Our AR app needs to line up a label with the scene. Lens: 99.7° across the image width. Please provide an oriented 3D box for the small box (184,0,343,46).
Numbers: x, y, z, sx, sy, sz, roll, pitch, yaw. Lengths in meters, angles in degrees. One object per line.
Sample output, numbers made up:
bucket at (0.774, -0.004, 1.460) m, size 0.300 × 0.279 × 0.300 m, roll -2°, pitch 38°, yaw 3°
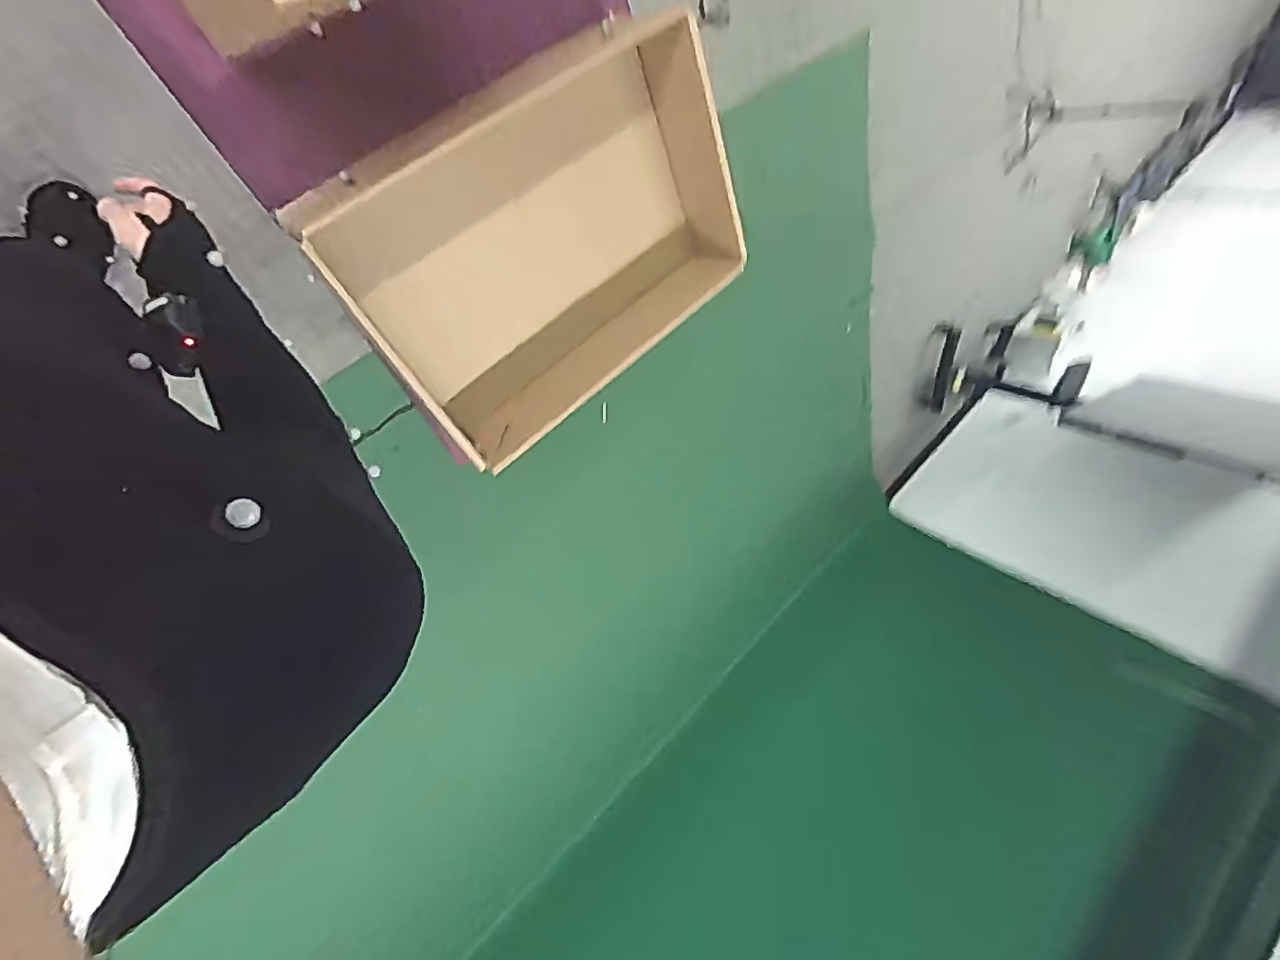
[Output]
small box at (-0.386, -0.554, 0.523) m, size 0.179 × 0.176 × 0.168 m, roll -42°, pitch 137°, yaw -17°
